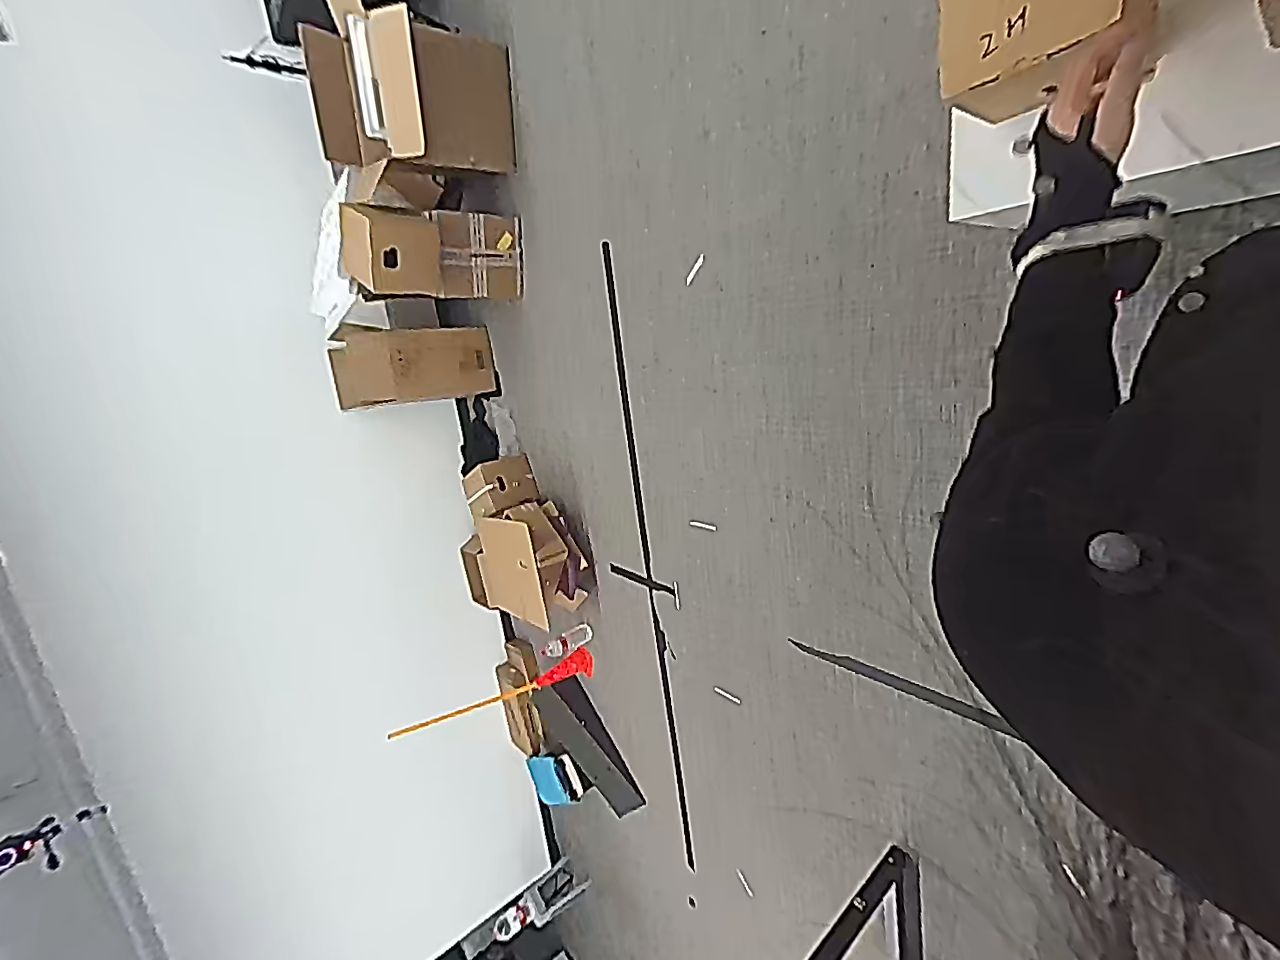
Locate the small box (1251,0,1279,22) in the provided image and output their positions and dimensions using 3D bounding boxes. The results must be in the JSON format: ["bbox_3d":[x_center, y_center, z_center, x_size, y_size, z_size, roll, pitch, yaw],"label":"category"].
[{"bbox_3d":[0.617,-0.493,0.414,0.168,0.176,0.179,13,115,51],"label":"small box"}]

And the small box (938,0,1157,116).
[{"bbox_3d":[0.454,-0.545,0.603,0.168,0.176,0.179,8,110,51],"label":"small box"}]
